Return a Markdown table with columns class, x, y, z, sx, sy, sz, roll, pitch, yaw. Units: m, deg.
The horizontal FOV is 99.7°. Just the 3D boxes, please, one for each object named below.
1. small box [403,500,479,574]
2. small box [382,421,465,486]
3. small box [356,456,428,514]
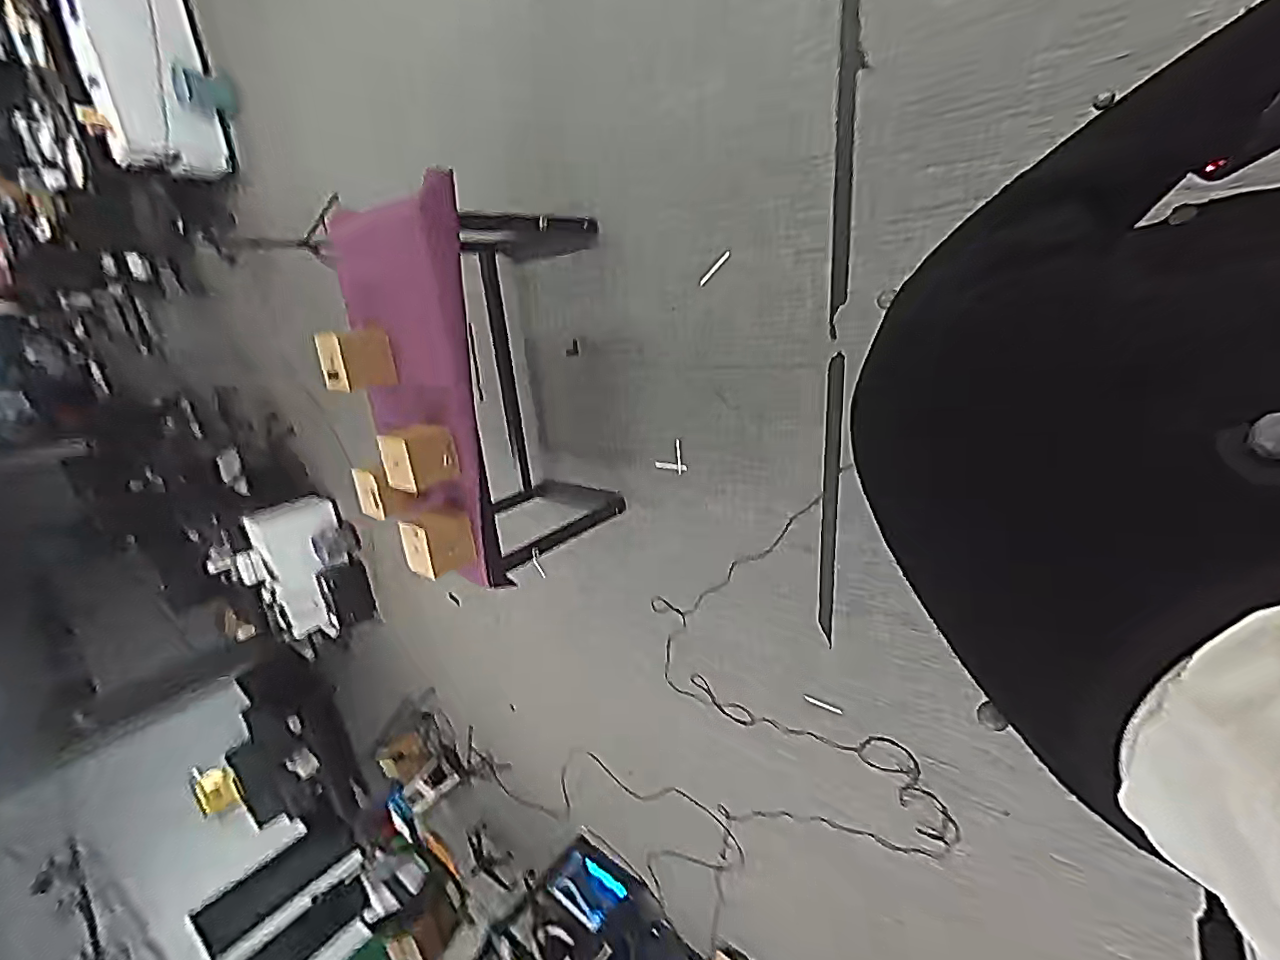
| class | x | y | z | sx | sy | sz | roll | pitch | yaw |
| --- | --- | --- | --- | --- | --- | --- | --- | --- | --- |
| small box | -0.671 | 0.188 | 1.837 | 0.168 | 0.176 | 0.179 | 11 | 115 | 38 |
| small box | -0.695 | -0.092 | 1.744 | 0.179 | 0.176 | 0.168 | 9 | 114 | 37 |
| small box | -0.886 | 0.005 | 1.953 | 0.179 | 0.176 | 0.168 | 10 | 114 | 39 |
